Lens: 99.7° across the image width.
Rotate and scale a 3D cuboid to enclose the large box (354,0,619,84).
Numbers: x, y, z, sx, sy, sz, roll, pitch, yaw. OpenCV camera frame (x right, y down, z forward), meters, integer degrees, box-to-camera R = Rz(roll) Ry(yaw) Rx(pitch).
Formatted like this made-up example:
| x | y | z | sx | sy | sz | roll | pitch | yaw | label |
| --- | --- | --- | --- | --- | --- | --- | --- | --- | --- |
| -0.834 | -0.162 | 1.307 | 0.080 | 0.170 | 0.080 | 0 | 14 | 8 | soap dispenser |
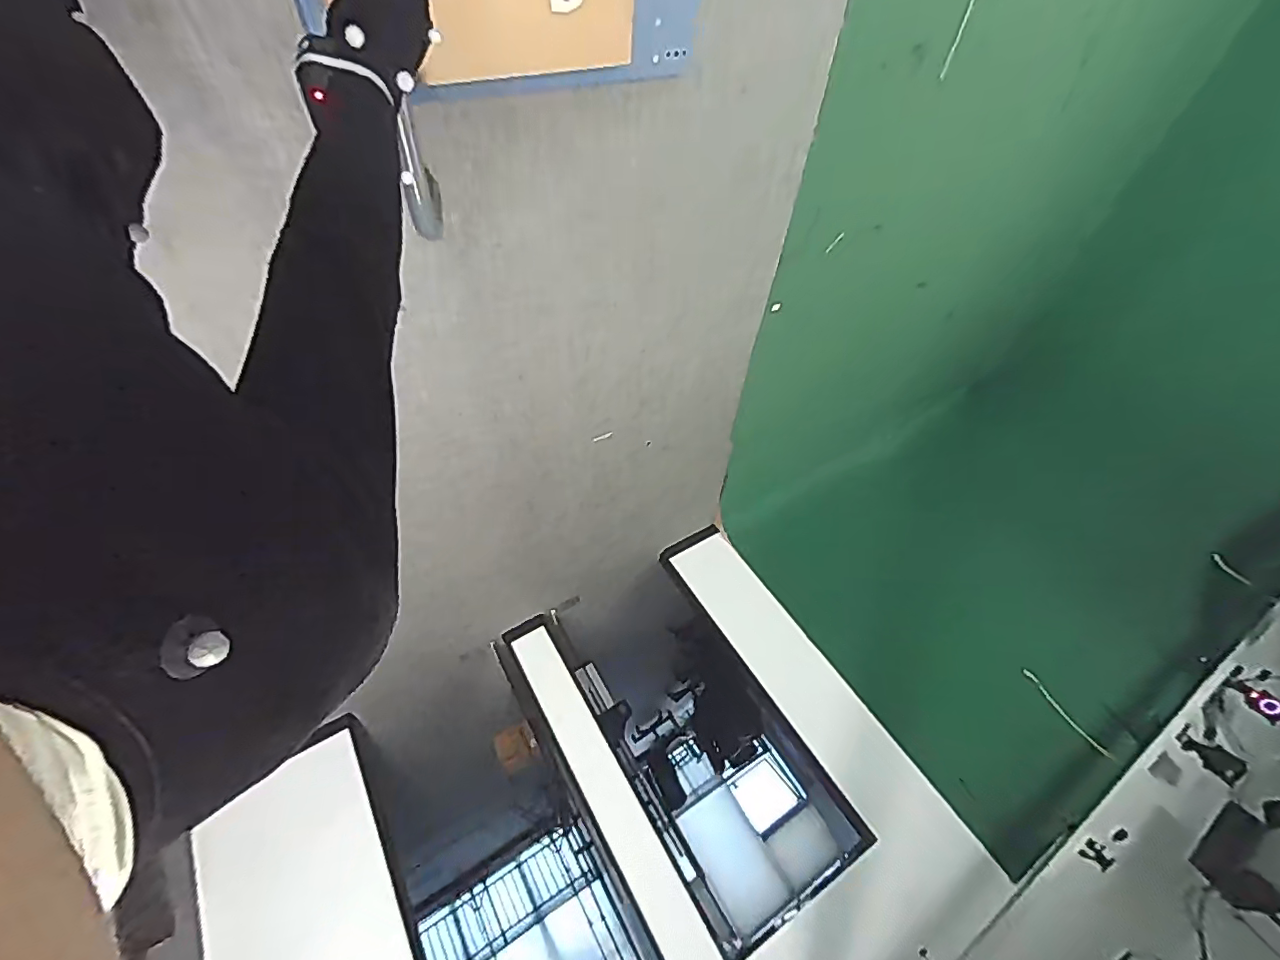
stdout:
| x | y | z | sx | sy | sz | roll | pitch | yaw | label |
| --- | --- | --- | --- | --- | --- | --- | --- | --- | --- |
| -0.282 | -0.924 | 0.920 | 0.408 | 0.320 | 0.320 | -25 | 147 | -22 | large box |
